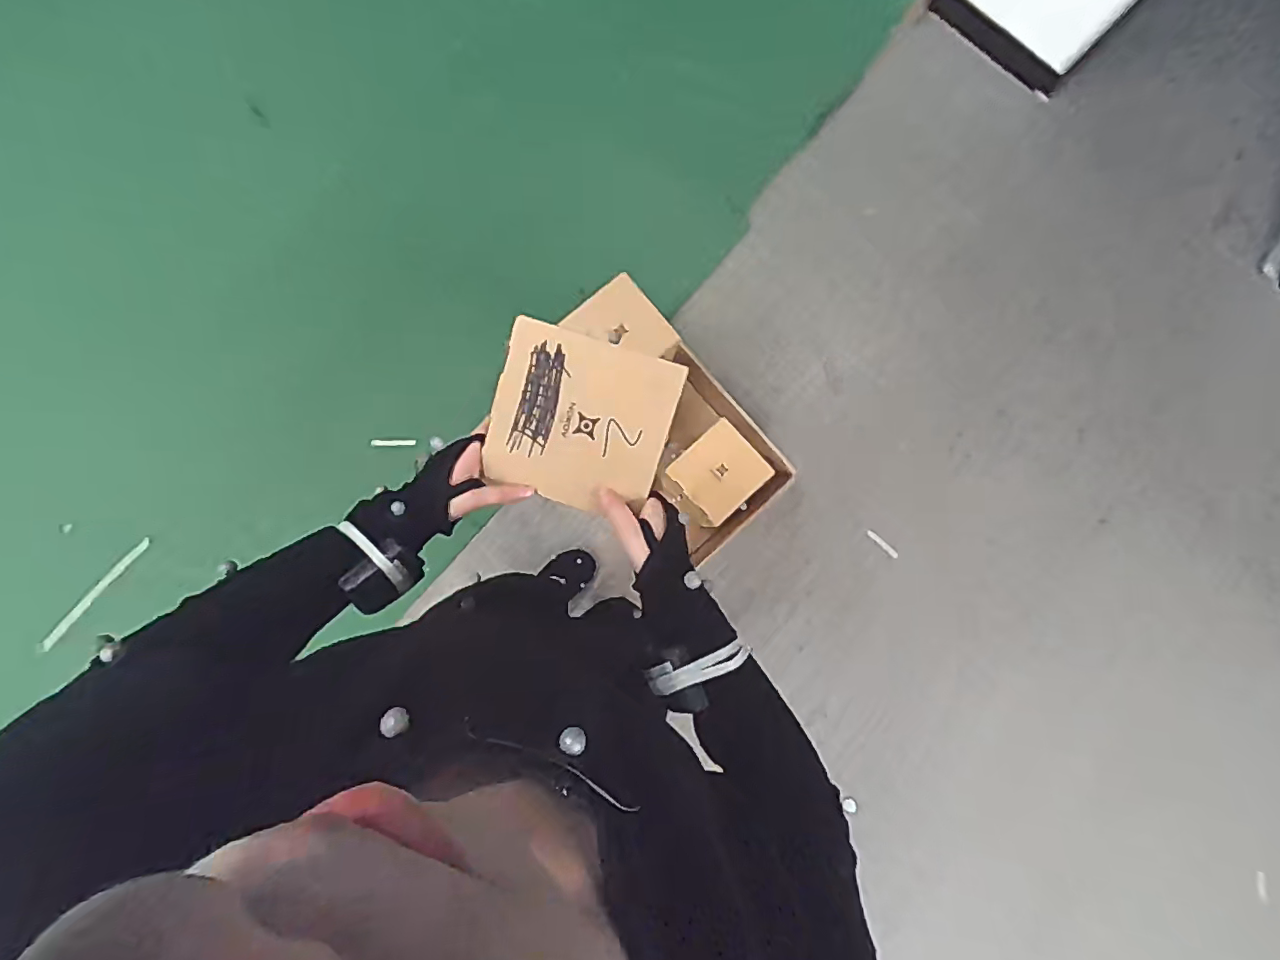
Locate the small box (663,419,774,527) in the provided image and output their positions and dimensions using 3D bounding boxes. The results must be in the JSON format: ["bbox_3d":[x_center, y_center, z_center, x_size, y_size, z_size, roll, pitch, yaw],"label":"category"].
[{"bbox_3d":[0.168,-0.012,1.231,0.179,0.176,0.168,-42,88,-3],"label":"small box"}]

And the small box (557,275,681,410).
[{"bbox_3d":[-0.045,-0.264,1.075,0.179,0.176,0.168,-40,89,-4],"label":"small box"}]

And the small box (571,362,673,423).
[{"bbox_3d":[-0.050,-0.252,1.240,0.179,0.176,0.168,-38,90,-4],"label":"small box"}]
